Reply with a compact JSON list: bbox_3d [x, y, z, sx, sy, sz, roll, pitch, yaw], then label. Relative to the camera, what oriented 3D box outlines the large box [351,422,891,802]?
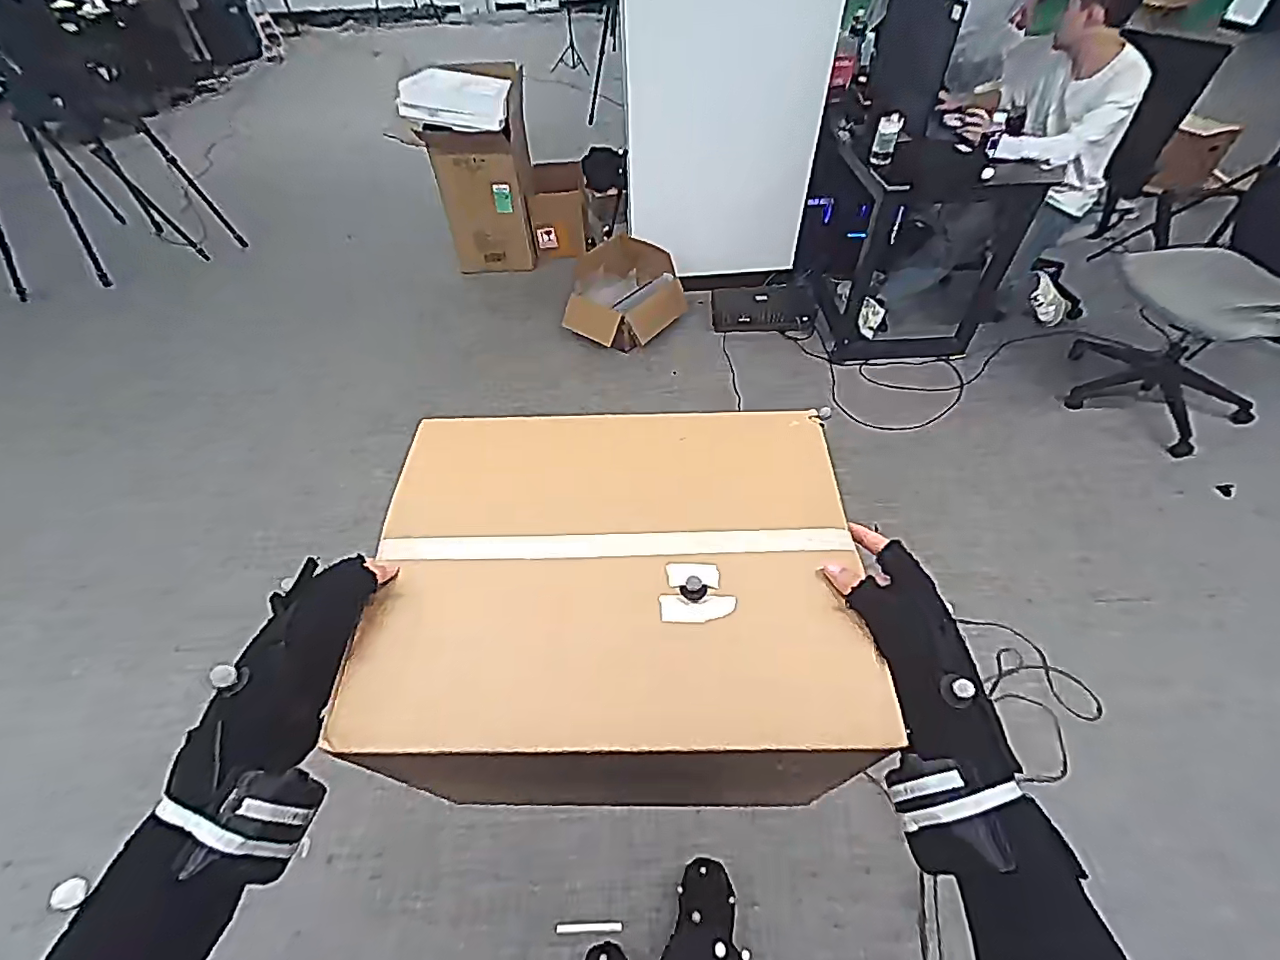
[{"bbox_3d":[-0.014,0.154,0.599,0.408,0.320,0.320,-1,53,1],"label":"large box"}]
